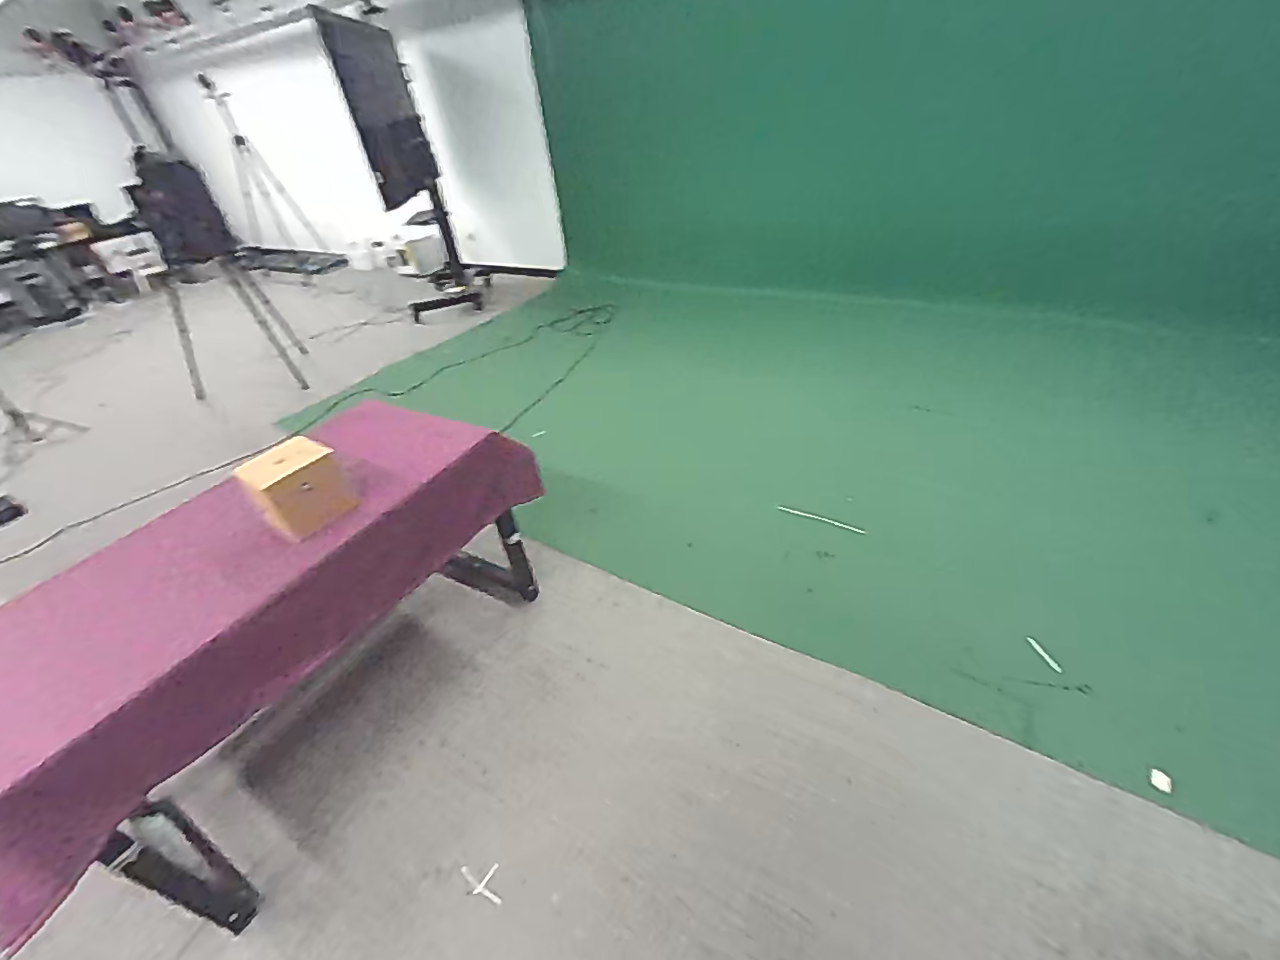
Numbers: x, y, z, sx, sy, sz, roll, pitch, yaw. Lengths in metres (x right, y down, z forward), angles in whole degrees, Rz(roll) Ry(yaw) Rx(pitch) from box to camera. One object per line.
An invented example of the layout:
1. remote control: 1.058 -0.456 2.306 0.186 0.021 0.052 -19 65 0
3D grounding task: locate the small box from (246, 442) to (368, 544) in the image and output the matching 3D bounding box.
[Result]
1. small box: -0.830 0.032 1.363 0.168 0.176 0.179 19 45 32
